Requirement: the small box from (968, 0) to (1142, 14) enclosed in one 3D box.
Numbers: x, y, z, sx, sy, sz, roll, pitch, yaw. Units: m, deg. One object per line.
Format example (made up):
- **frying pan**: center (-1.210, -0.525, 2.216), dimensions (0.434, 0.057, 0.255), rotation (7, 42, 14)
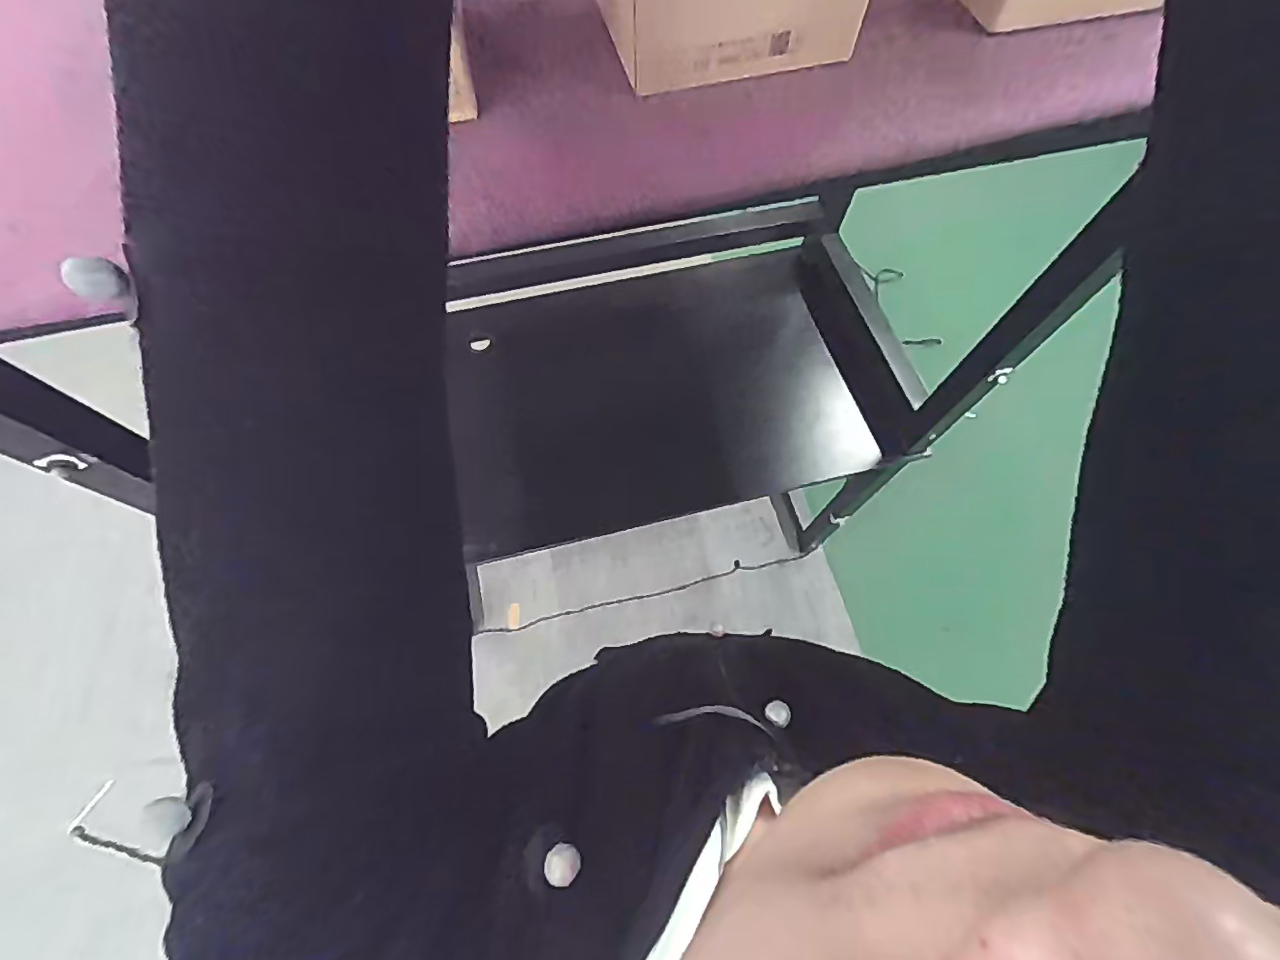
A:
- **small box**: center (0.330, -0.474, 0.385), dimensions (0.179, 0.176, 0.168), rotation (-12, 67, -6)
